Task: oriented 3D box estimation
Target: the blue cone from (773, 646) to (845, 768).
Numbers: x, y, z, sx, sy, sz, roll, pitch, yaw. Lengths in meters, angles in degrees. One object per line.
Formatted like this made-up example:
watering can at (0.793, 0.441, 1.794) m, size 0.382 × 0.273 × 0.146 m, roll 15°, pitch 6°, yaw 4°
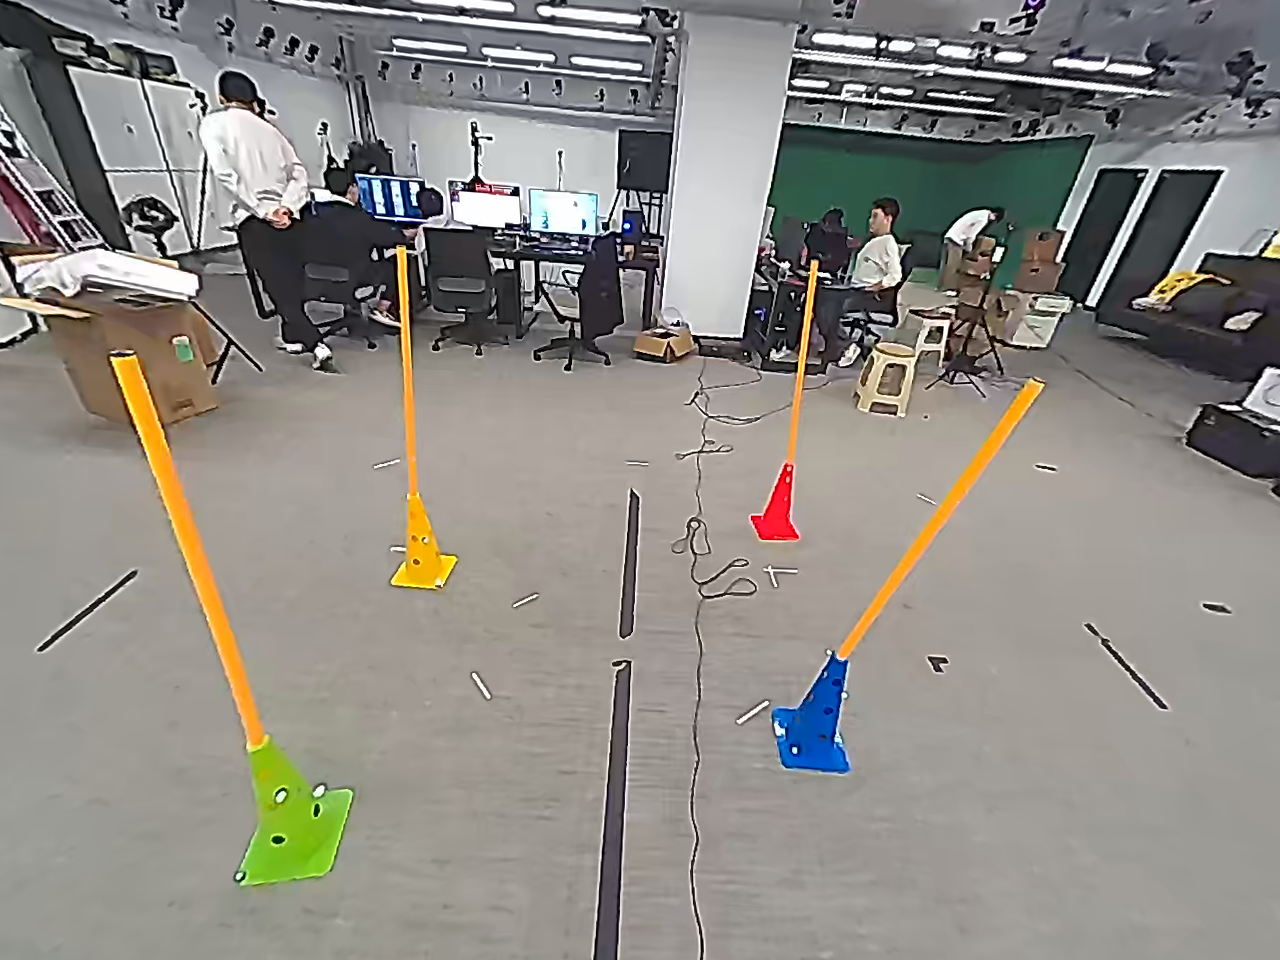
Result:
blue cone at (0.520, 0.630, 1.545) m, size 0.193 × 0.380 × 0.192 m, roll 6°, pitch 29°, yaw 1°

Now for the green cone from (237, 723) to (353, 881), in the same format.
green cone at (-0.802, 0.687, 1.212) m, size 0.200 × 0.368 × 0.202 m, roll -1°, pitch 28°, yaw -11°

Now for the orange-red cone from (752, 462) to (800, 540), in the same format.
orange-red cone at (0.660, 0.083, 2.502) m, size 0.199 × 0.360 × 0.198 m, roll 1°, pitch 29°, yaw -5°
